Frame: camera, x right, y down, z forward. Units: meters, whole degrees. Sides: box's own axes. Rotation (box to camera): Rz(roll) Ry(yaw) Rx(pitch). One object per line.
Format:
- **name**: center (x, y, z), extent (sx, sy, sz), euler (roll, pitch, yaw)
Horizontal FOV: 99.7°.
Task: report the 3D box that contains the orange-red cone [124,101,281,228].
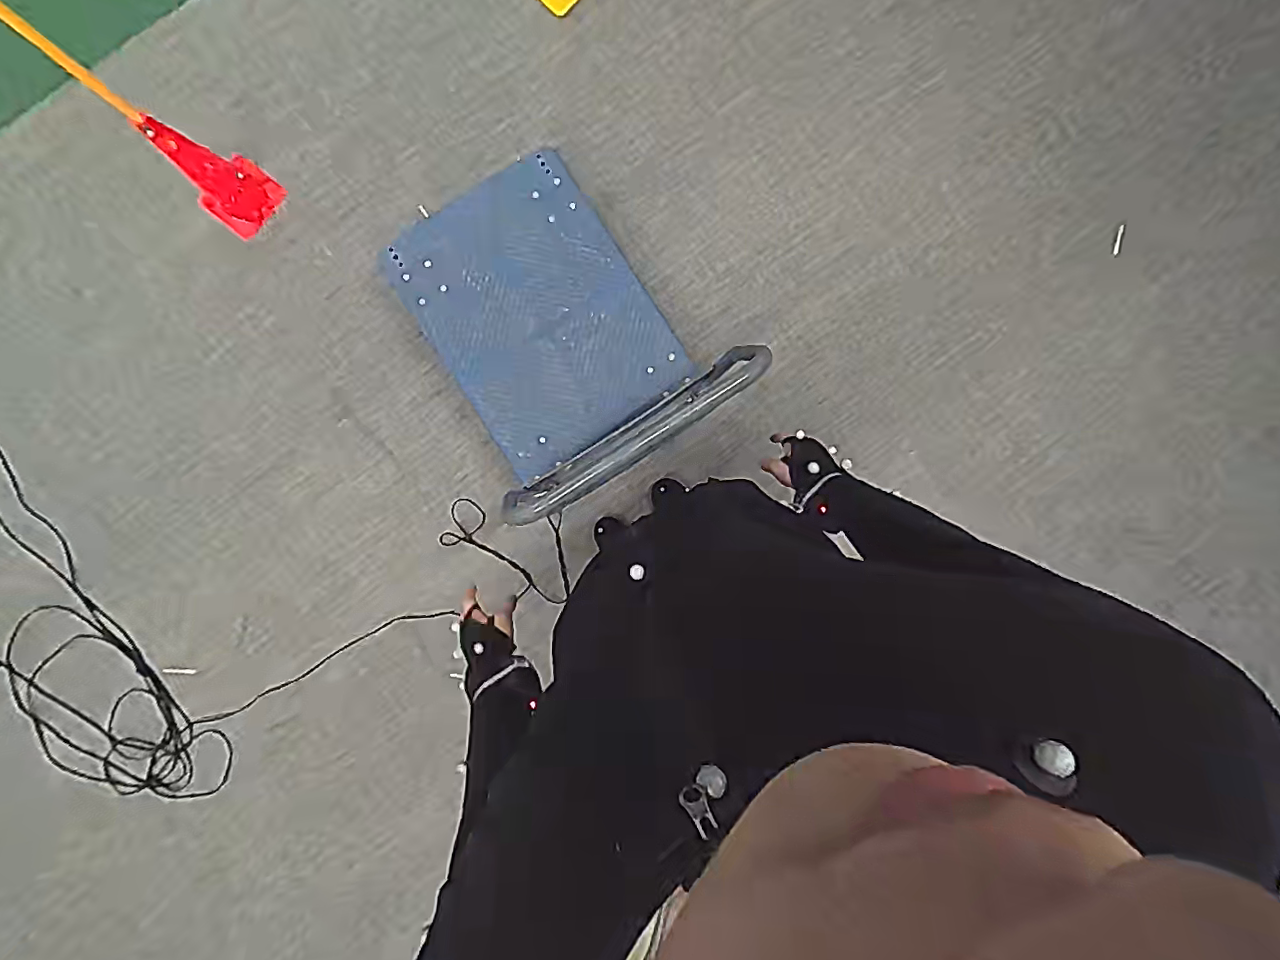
- **orange-red cone**: center (-1.211, -0.885, 1.464), extent (0.198, 0.360, 0.199), euler (40, 91, 1)
